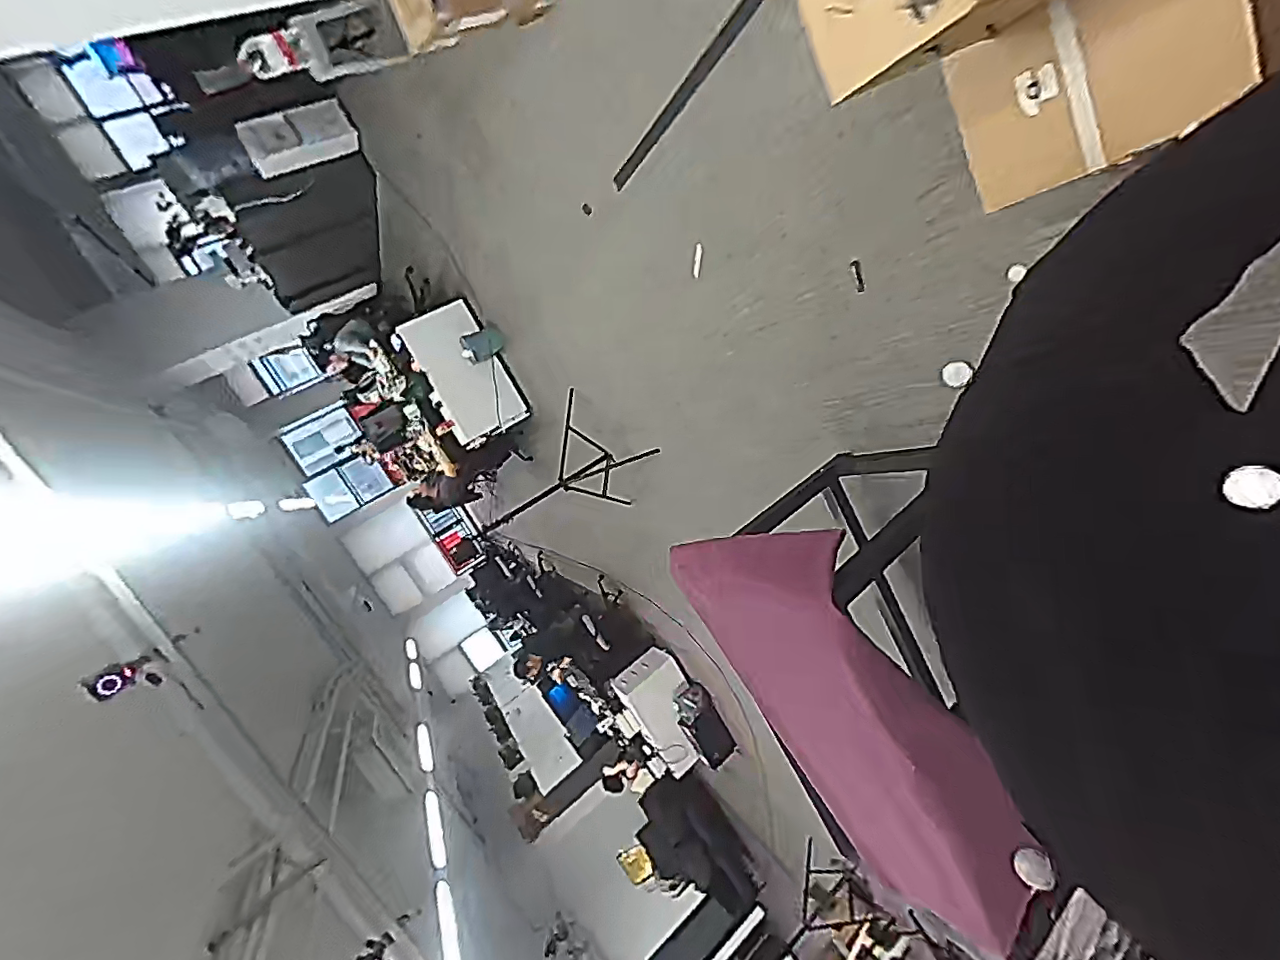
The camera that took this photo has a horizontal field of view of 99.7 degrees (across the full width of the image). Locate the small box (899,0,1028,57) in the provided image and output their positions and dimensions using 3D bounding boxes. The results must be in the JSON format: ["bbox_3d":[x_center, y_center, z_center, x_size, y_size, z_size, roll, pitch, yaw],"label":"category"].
[{"bbox_3d":[0.421,-0.648,0.627,0.168,0.176,0.179,61,158,-18],"label":"small box"}]

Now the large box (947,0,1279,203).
[{"bbox_3d":[0.664,-0.686,0.737,0.408,0.320,0.320,61,159,-14],"label":"large box"}]
